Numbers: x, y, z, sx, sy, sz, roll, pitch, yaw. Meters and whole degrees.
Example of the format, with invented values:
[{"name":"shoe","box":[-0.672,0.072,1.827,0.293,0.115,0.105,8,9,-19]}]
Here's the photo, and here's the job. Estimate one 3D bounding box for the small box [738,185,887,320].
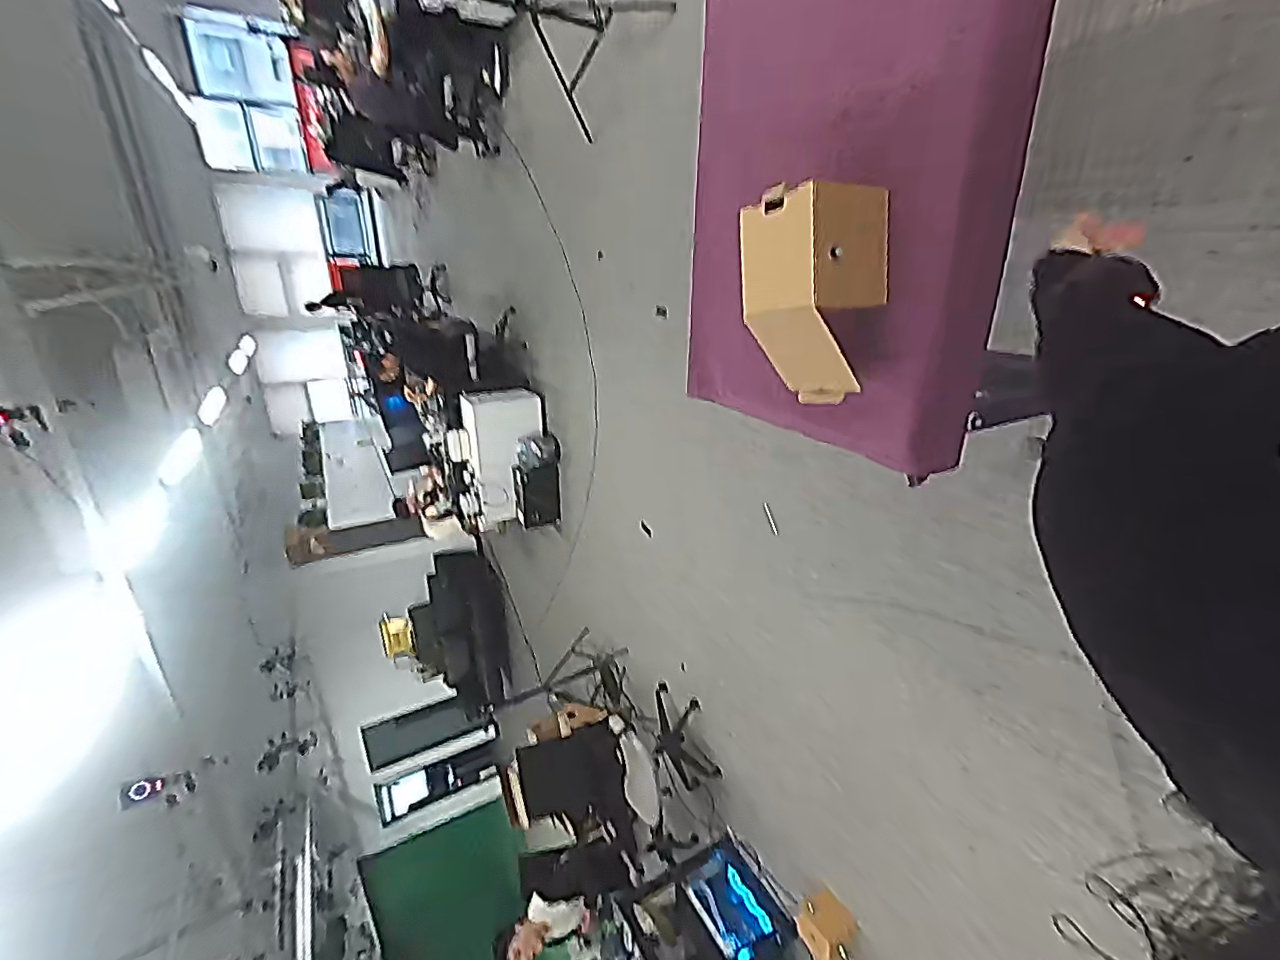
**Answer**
[{"name":"small box","box":[0.281,-0.364,0.888,0.168,0.176,0.179,17,115,59]}]
